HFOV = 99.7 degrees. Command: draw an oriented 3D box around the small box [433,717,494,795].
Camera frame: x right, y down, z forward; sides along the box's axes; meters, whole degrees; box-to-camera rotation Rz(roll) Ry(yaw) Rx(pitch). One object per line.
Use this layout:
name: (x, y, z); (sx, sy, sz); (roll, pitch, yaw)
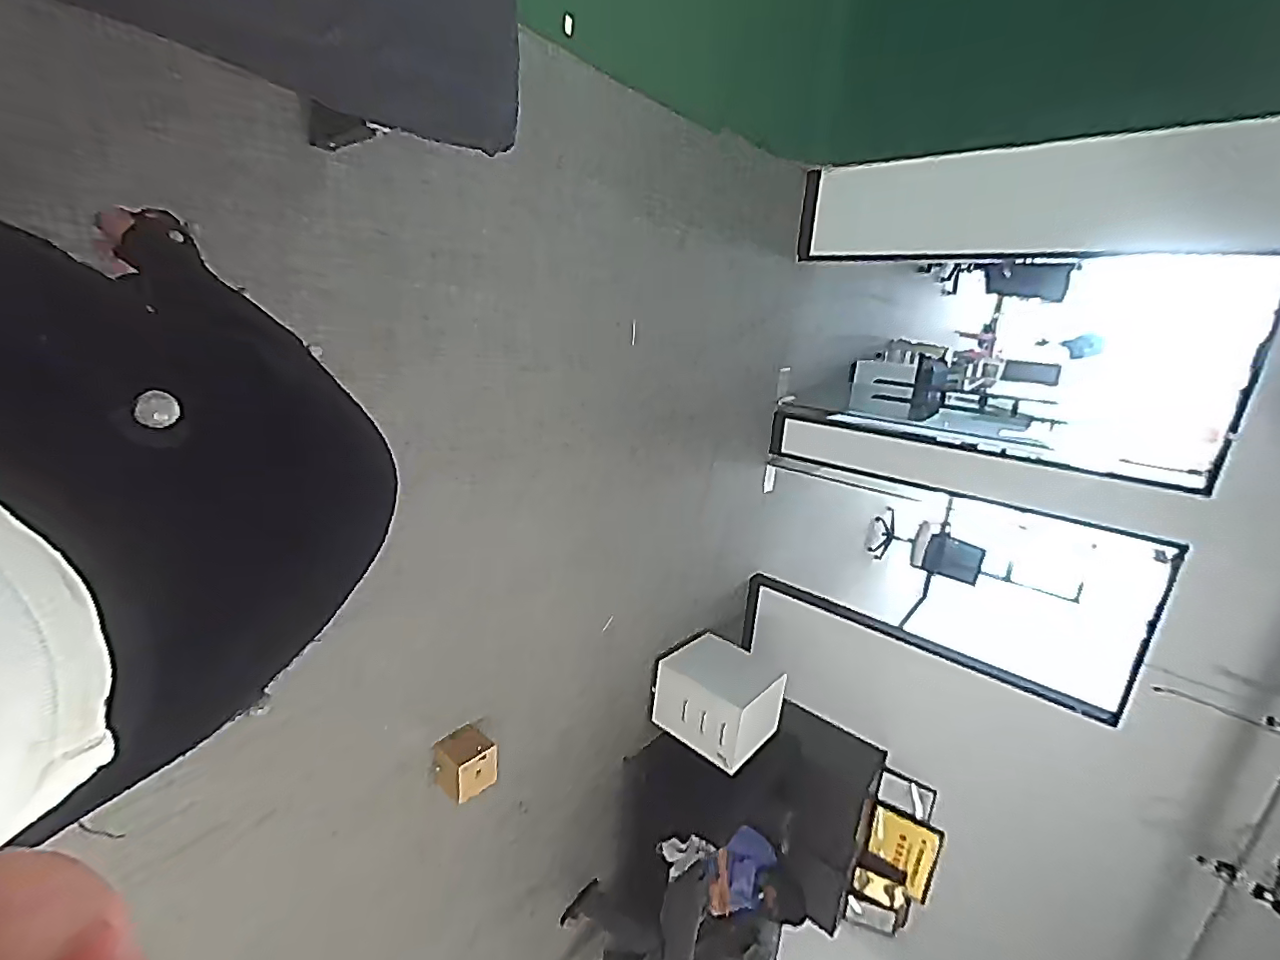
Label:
small box: (-0.686, 1.065, 2.098); (0.168, 0.176, 0.179); (-14, 115, -49)
